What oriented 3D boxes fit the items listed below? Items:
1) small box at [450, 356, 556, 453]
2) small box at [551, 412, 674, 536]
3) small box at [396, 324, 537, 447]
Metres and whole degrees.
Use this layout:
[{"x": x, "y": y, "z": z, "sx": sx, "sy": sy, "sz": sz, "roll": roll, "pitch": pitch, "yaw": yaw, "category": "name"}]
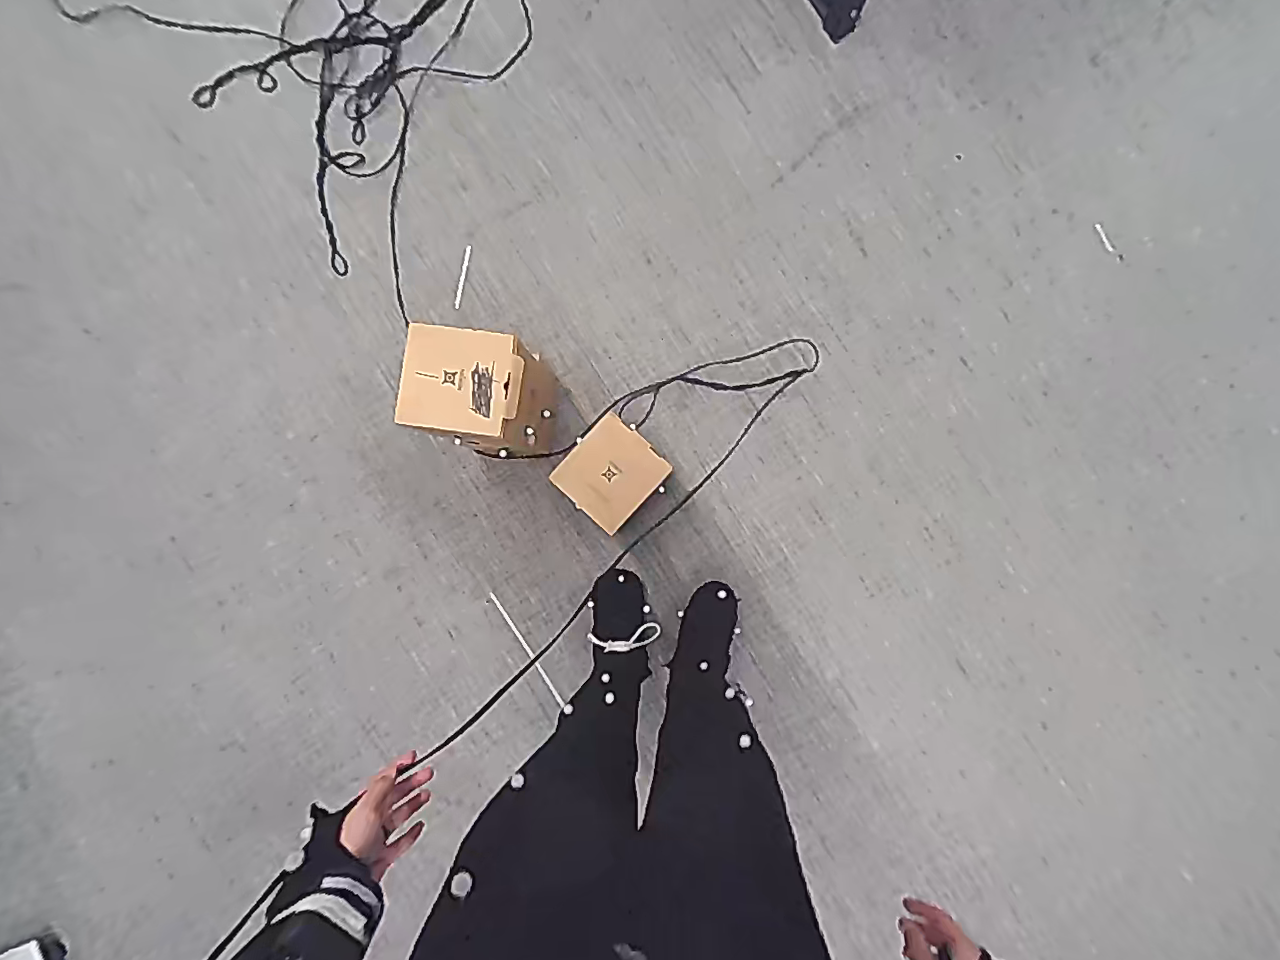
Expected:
[{"x": -0.270, "y": -0.149, "z": 1.095, "sx": 0.168, "sy": 0.176, "sz": 0.179, "roll": 3, "pitch": 88, "yaw": 2, "category": "small box"}, {"x": -0.051, "y": -0.009, "z": 1.088, "sx": 0.168, "sy": 0.176, "sz": 0.179, "roll": 42, "pitch": 90, "yaw": 3, "category": "small box"}, {"x": -0.286, "y": -0.152, "z": 0.930, "sx": 0.179, "sy": 0.176, "sz": 0.168, "roll": 8, "pitch": 87, "yaw": 3, "category": "small box"}]
